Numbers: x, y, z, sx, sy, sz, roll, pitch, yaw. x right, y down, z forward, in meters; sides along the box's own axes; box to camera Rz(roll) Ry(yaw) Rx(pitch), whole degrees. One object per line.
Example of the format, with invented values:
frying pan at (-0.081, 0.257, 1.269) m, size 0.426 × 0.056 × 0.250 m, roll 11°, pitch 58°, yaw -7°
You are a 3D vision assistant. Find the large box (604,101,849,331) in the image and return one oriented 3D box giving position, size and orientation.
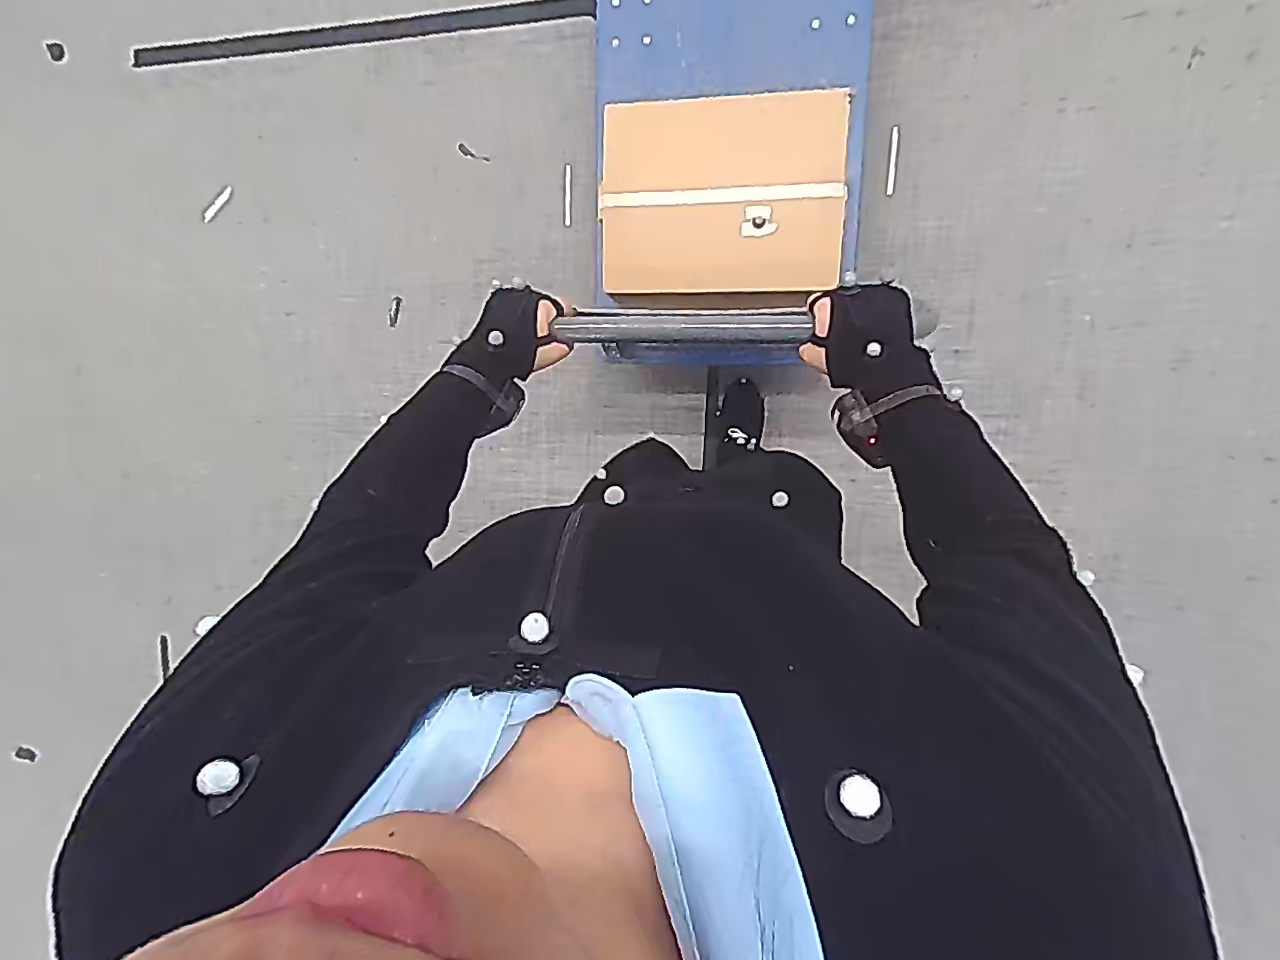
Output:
large box at (0.155, -0.472, 1.048) m, size 0.408 × 0.320 × 0.320 m, roll 2°, pitch 98°, yaw 8°
